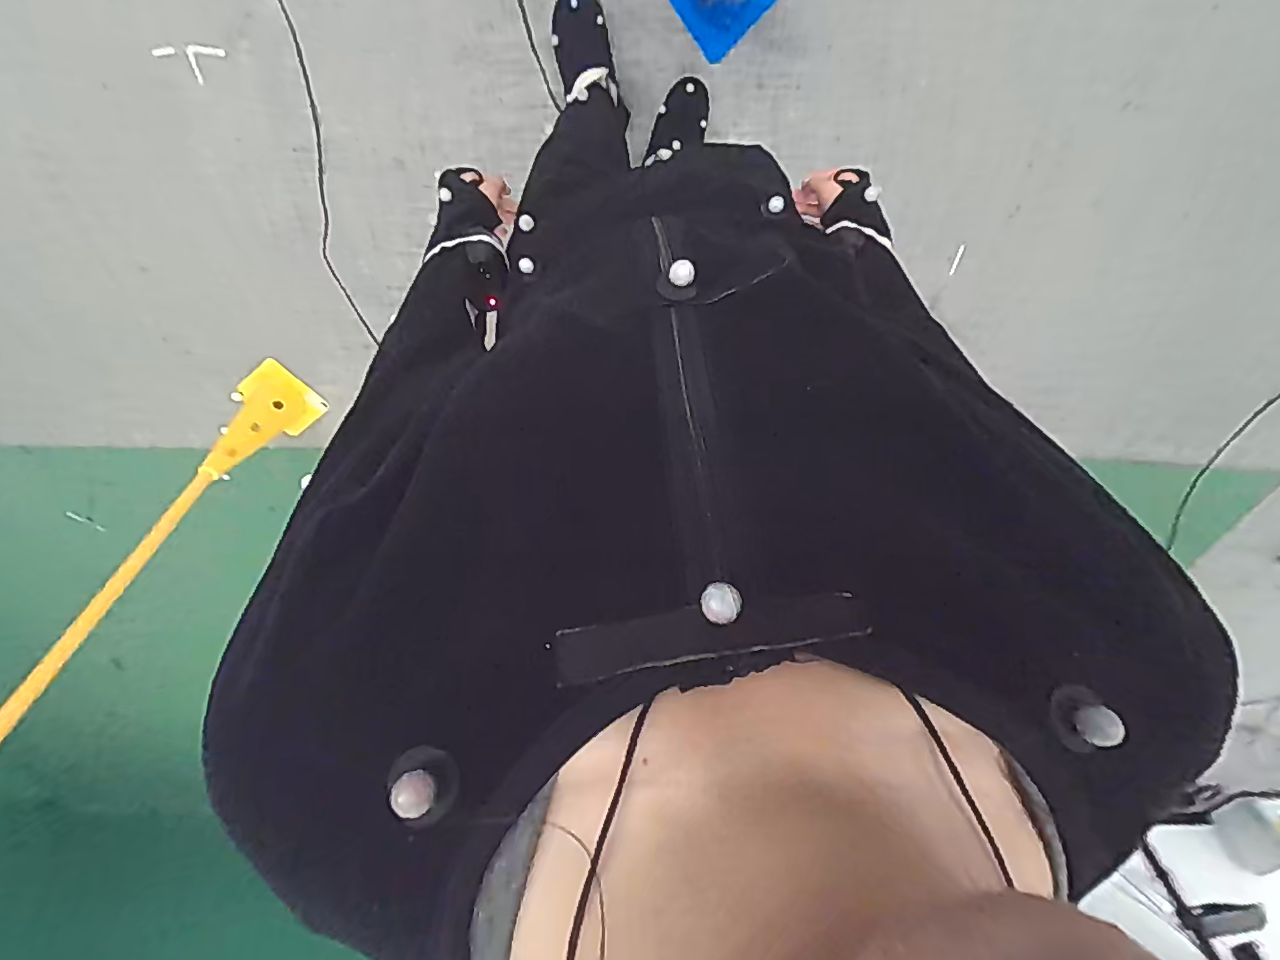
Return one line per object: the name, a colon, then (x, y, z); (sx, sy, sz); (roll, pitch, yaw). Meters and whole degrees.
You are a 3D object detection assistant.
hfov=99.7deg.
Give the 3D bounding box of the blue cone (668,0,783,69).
blue cone: (0.157, -0.809, 0.865); (0.193, 0.380, 0.192); (-37, 120, 25)
